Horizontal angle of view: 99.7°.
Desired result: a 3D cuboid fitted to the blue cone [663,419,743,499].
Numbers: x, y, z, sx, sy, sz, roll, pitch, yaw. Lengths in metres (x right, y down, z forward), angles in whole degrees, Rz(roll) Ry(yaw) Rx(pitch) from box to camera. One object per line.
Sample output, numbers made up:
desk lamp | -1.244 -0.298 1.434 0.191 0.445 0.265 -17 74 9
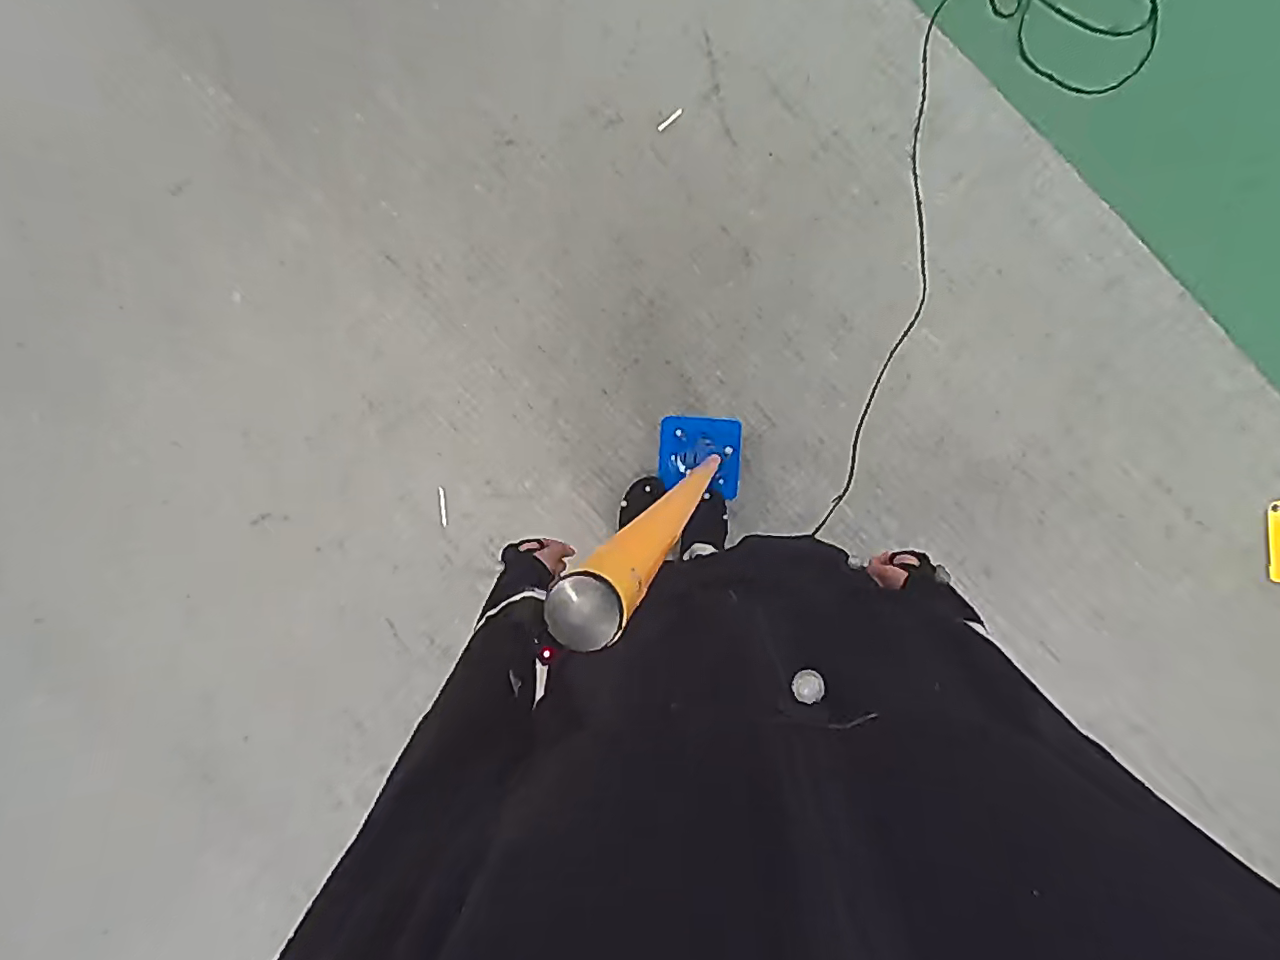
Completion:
blue cone | 0.142 -0.040 1.136 0.193 0.380 0.192 2 93 2
